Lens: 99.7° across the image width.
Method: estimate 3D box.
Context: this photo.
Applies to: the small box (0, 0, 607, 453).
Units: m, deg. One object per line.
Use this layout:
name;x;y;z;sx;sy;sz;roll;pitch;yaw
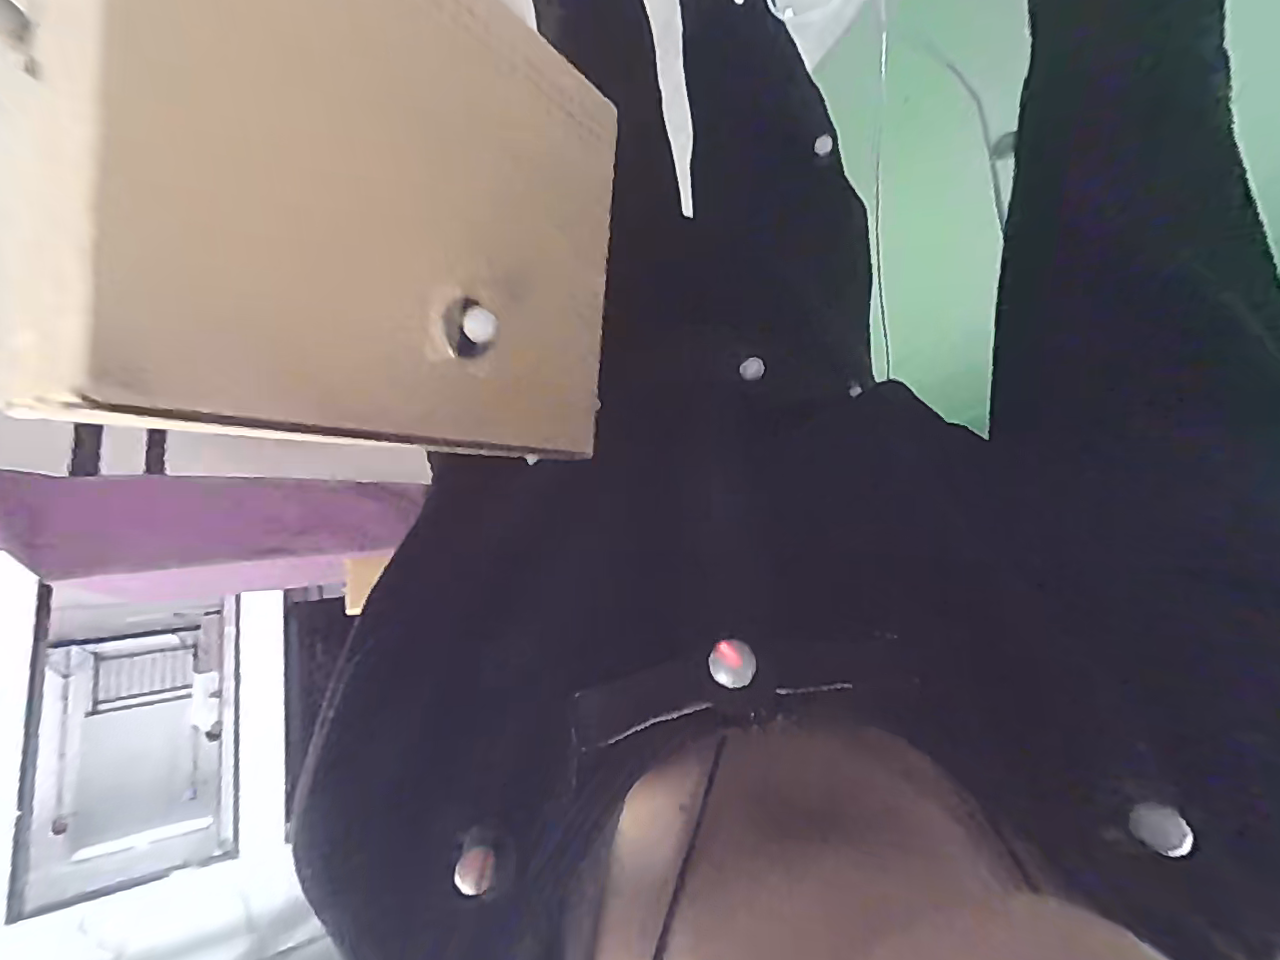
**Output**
small box;-0.128;-0.105;0.226;0.168;0.176;0.179;4;180;34
